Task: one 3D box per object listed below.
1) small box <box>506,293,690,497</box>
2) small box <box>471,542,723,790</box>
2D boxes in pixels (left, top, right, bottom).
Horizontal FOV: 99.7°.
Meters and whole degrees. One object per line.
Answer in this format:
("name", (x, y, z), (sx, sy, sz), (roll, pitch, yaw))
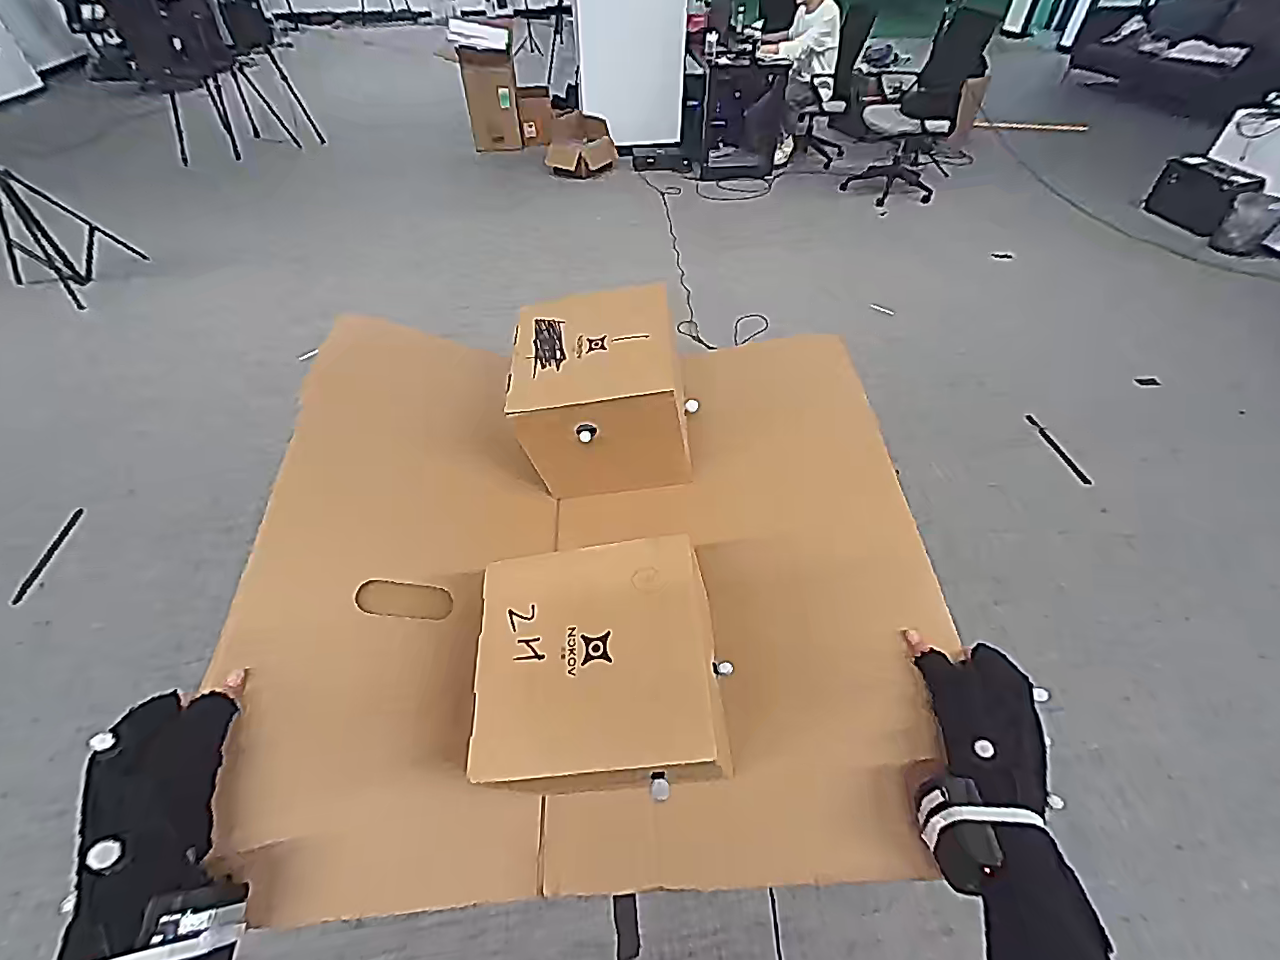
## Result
("small box", (-0.040, -0.092, 0.651), (0.179, 0.176, 0.168), (-7, 57, 8))
("small box", (-0.023, 0.172, 0.478), (0.179, 0.176, 0.168), (-9, 56, 8))
